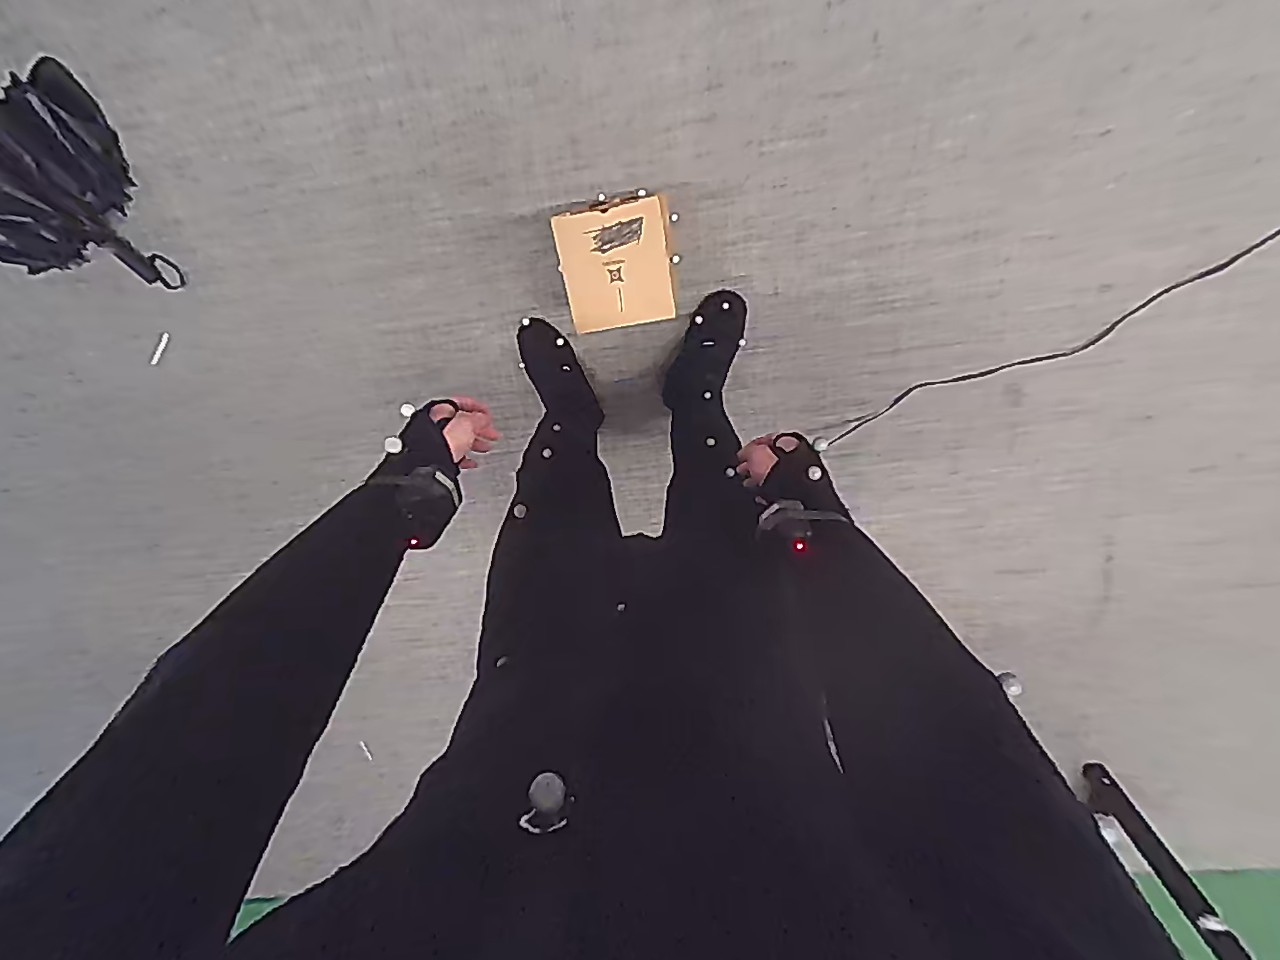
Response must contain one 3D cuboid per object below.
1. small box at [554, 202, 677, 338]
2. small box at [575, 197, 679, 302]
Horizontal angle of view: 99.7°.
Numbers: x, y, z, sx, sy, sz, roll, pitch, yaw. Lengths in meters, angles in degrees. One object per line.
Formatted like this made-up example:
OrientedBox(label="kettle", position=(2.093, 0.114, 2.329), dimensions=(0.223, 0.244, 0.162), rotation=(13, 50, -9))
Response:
OrientedBox(label="small box", position=(-0.031, -0.351, 0.899), dimensions=(0.168, 0.176, 0.179), rotation=(-8, 117, 9))
OrientedBox(label="small box", position=(-0.017, -0.434, 1.040), dimensions=(0.168, 0.176, 0.179), rotation=(-7, 118, 8))
